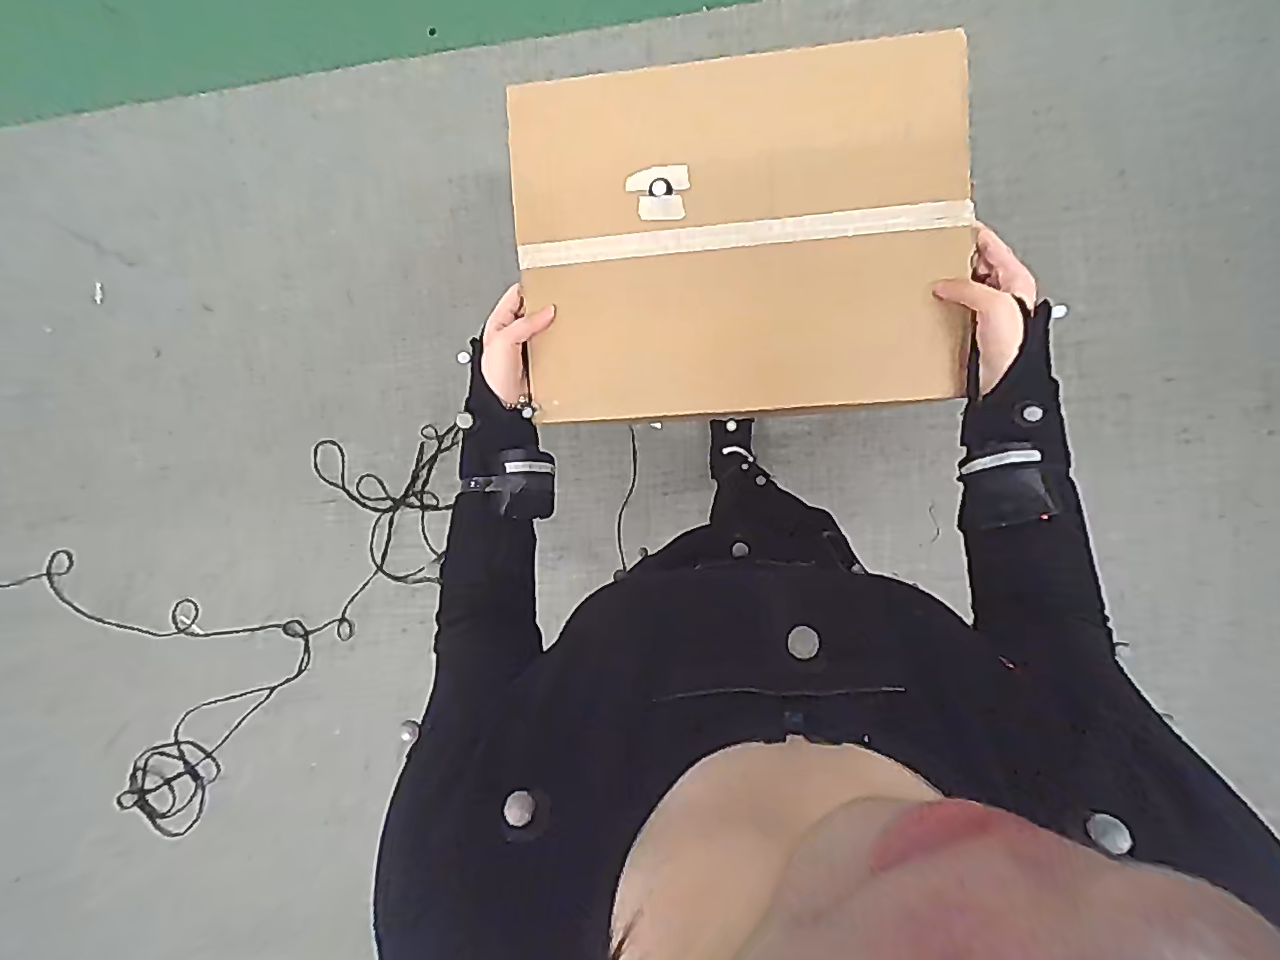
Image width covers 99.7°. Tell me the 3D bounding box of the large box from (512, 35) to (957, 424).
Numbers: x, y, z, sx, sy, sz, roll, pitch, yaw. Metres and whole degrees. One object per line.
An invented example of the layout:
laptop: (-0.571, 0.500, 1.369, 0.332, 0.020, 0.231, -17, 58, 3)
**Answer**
large box: (0.103, -0.238, 0.656, 0.408, 0.320, 0.320, -4, 94, 8)
